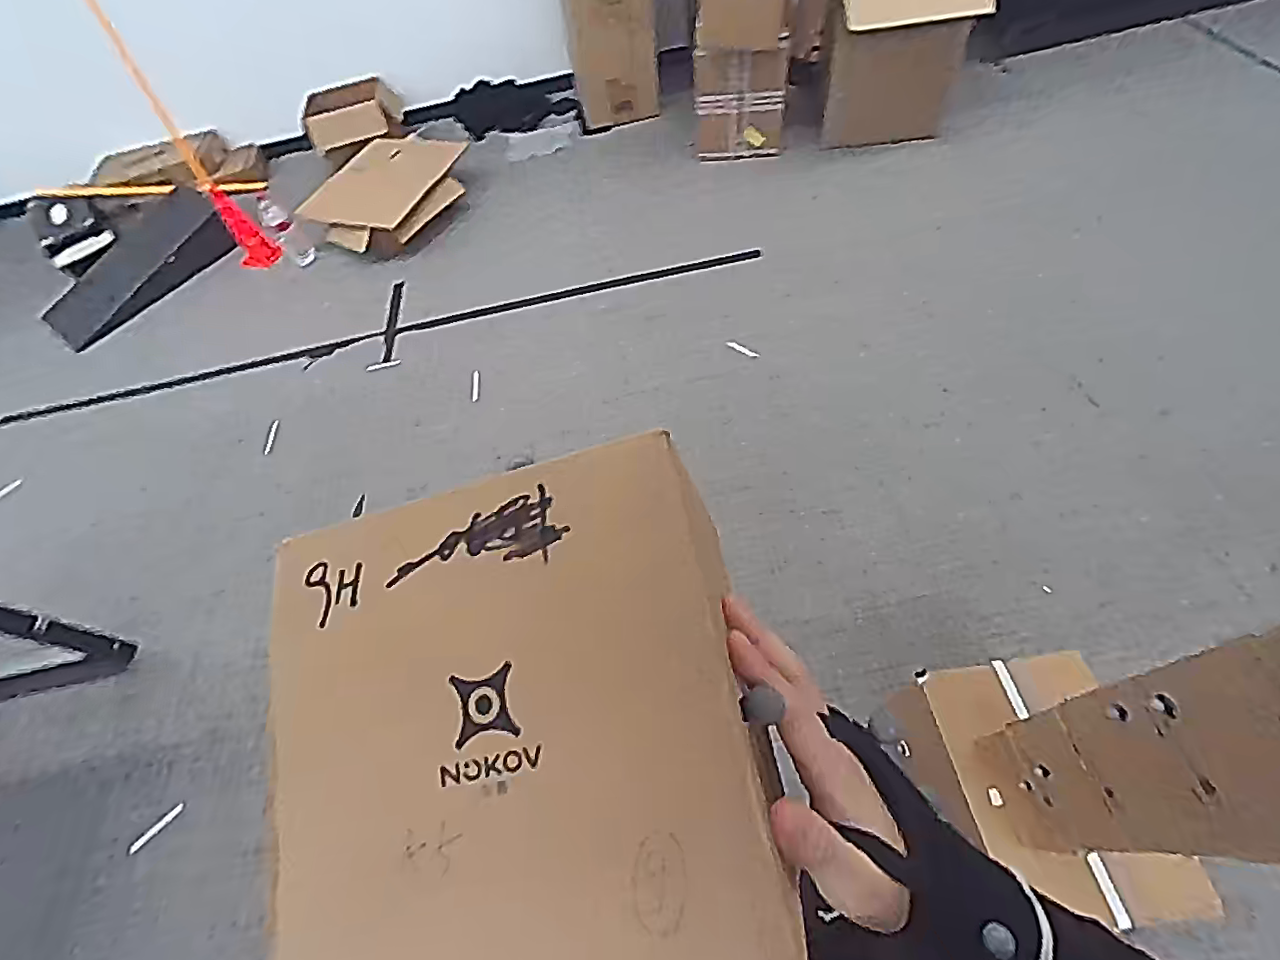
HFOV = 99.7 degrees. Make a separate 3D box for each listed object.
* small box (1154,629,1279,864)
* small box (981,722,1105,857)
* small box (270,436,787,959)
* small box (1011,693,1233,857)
[{"bbox_3d":[0.606,0.222,0.460,0.179,0.176,0.168,-10,57,4],"label":"small box"},{"bbox_3d":[0.691,0.484,0.866,0.168,0.176,0.179,-13,57,3],"label":"small box"},{"bbox_3d":[-0.034,0.104,0.255,0.168,0.176,0.179,-16,72,8],"label":"small box"},{"bbox_3d":[0.659,0.396,0.734,0.179,0.176,0.168,-13,56,3],"label":"small box"}]
